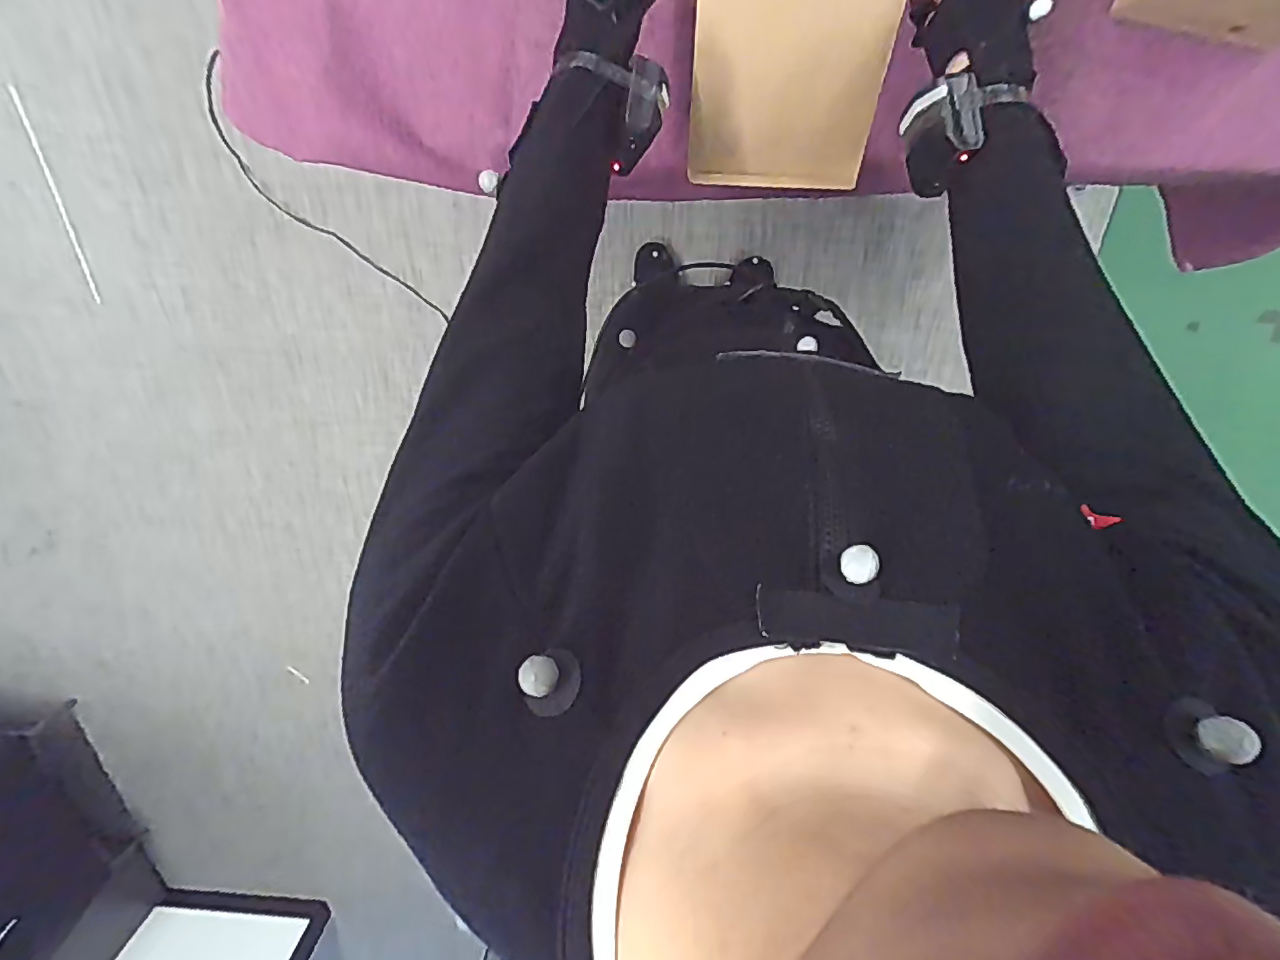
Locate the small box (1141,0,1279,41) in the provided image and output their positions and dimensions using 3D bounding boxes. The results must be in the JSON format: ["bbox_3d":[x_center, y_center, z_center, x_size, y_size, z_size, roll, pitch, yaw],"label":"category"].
[{"bbox_3d":[0.537,-0.471,0.405,0.168,0.176,0.179,12,114,-1],"label":"small box"}]
